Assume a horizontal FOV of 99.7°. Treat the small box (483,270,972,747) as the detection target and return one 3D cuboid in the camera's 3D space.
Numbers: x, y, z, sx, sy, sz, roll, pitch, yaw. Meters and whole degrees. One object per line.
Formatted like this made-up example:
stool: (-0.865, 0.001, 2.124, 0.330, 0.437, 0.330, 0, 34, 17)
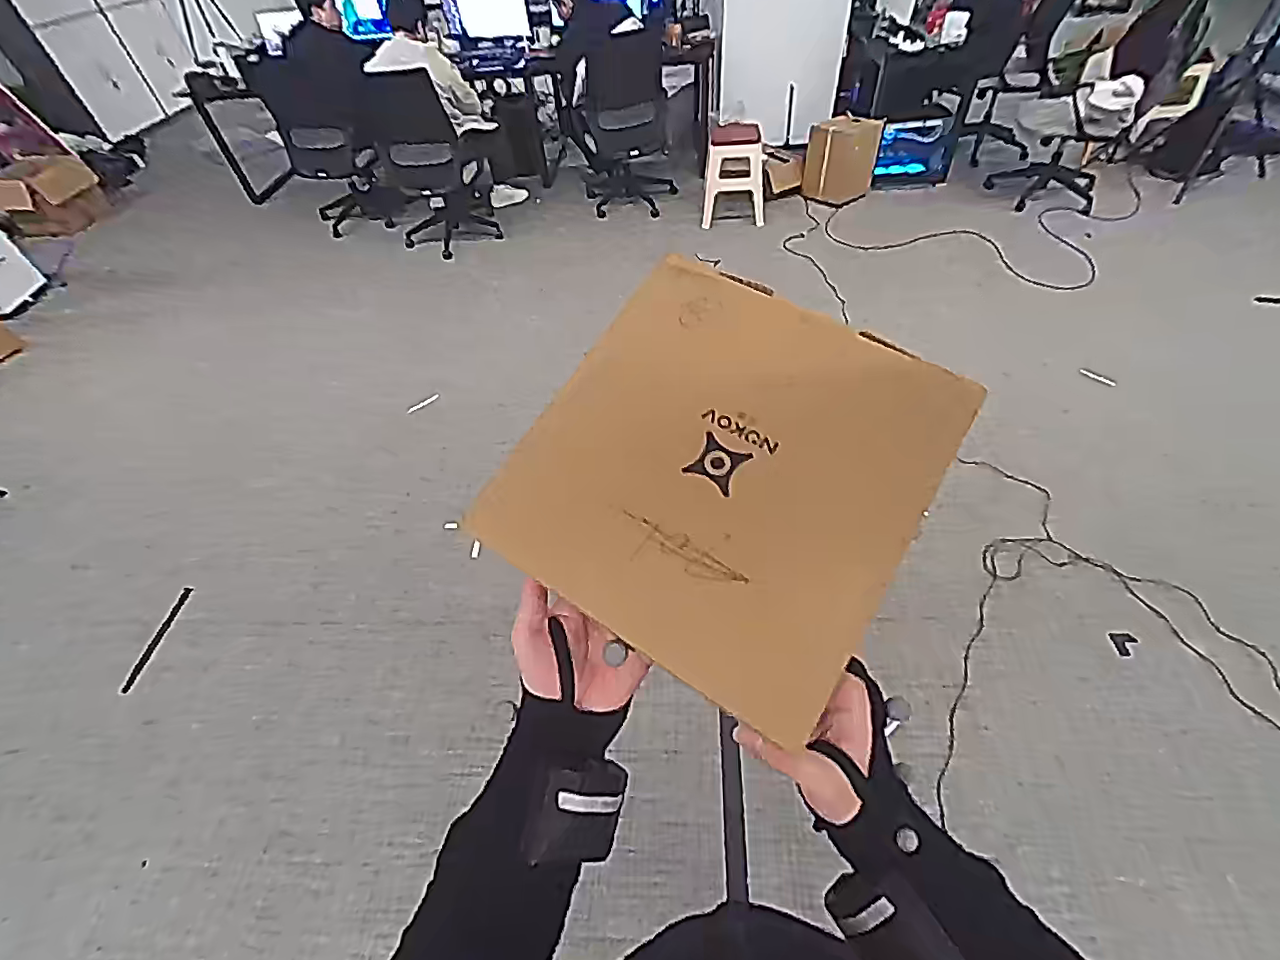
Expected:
small box: (0.047, 0.022, 0.321, 0.168, 0.176, 0.179, 30, 76, 17)
